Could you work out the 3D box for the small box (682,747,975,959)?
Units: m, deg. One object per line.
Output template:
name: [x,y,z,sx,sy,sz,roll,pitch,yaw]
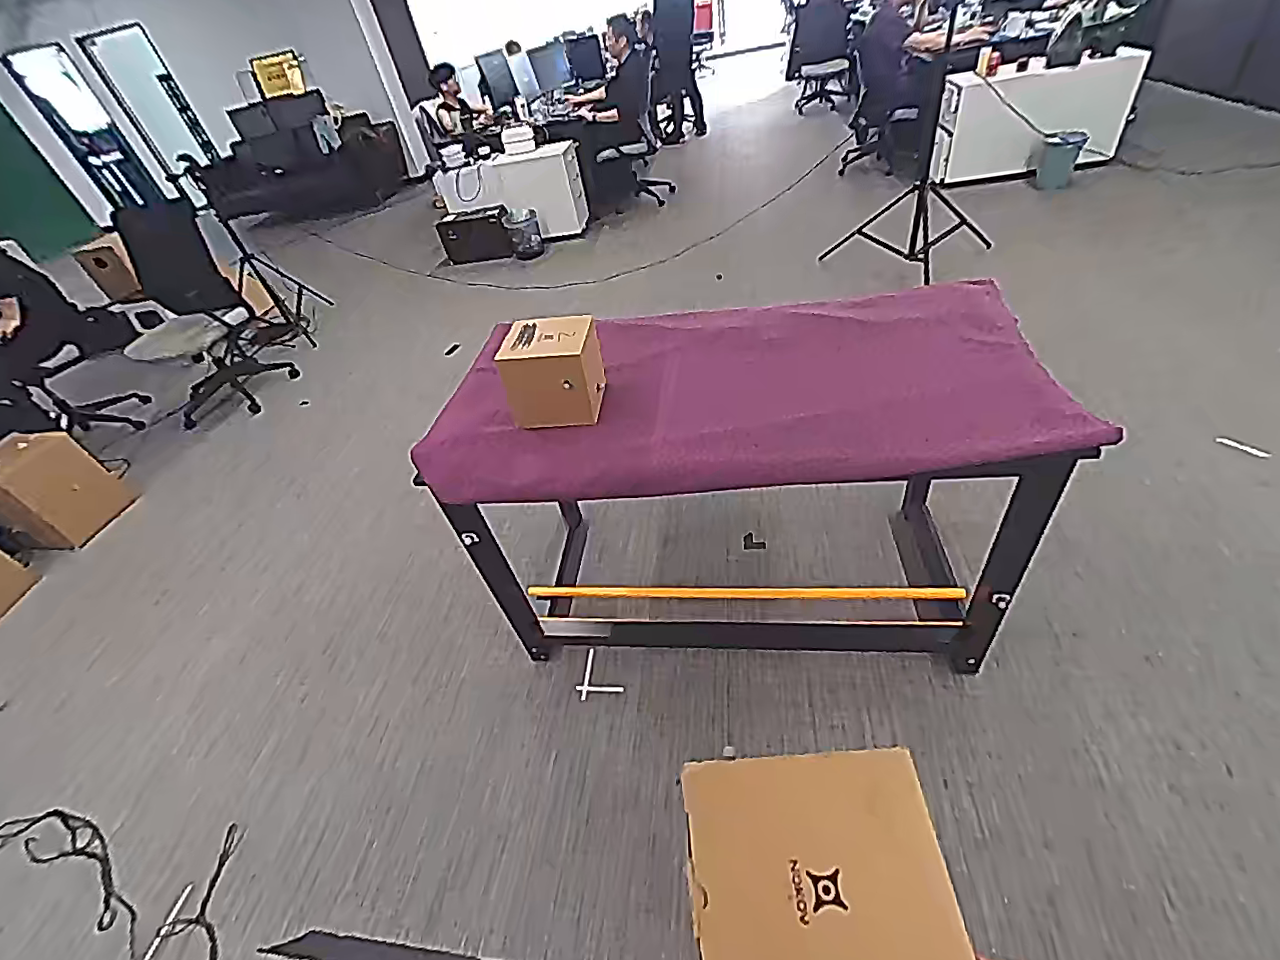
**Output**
small box: [0.132,0.321,0.432,0.179,0.176,0.168,-8,54,5]
